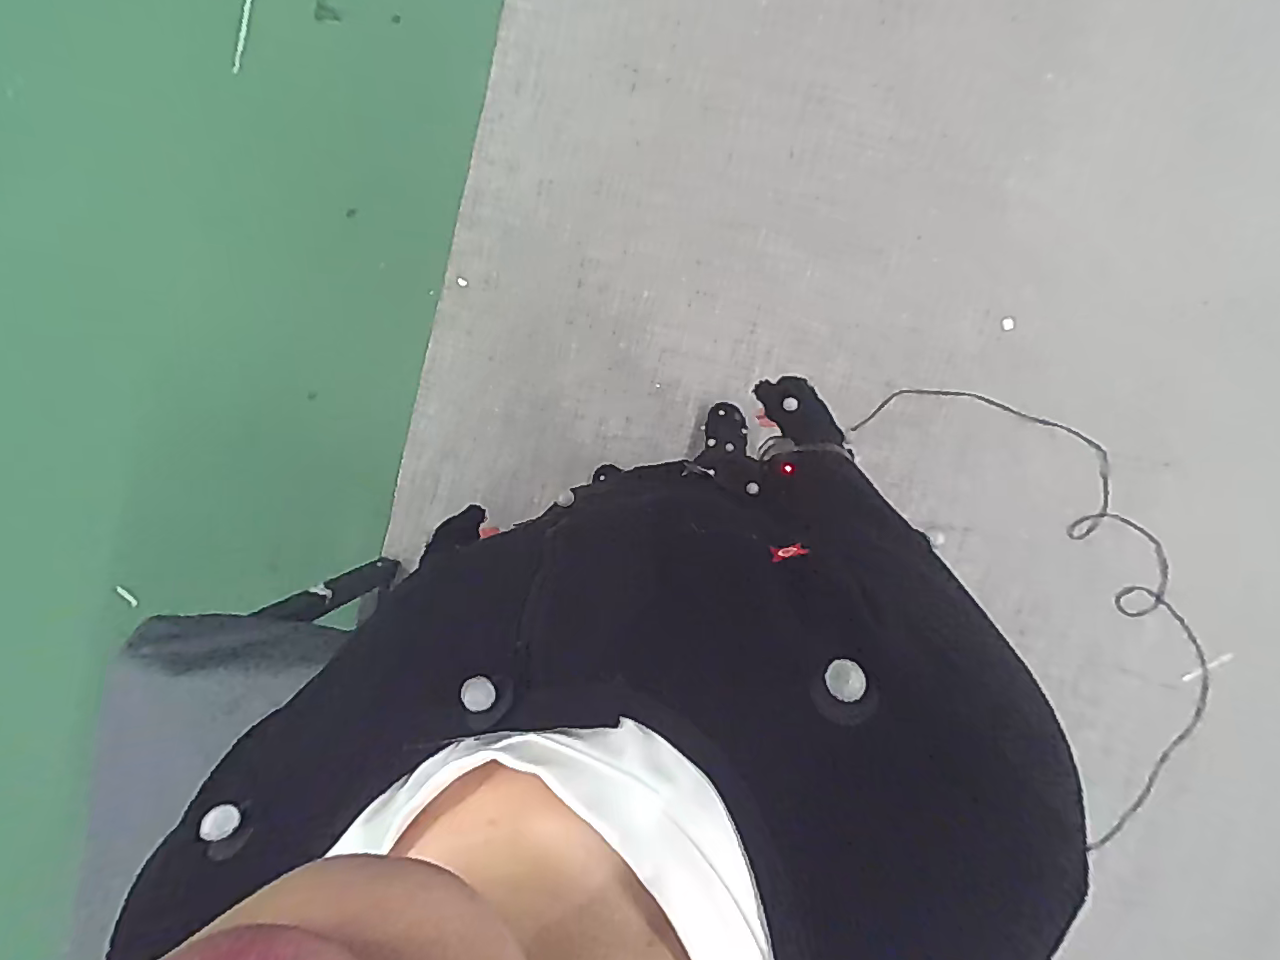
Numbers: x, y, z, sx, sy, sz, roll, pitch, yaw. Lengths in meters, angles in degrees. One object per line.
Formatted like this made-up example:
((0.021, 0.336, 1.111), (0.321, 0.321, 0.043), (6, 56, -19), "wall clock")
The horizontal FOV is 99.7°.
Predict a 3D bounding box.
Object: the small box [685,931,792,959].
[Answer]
((0.134, 0.748, 0.704), (0.168, 0.176, 0.179), (12, 94, 2), "small box")
